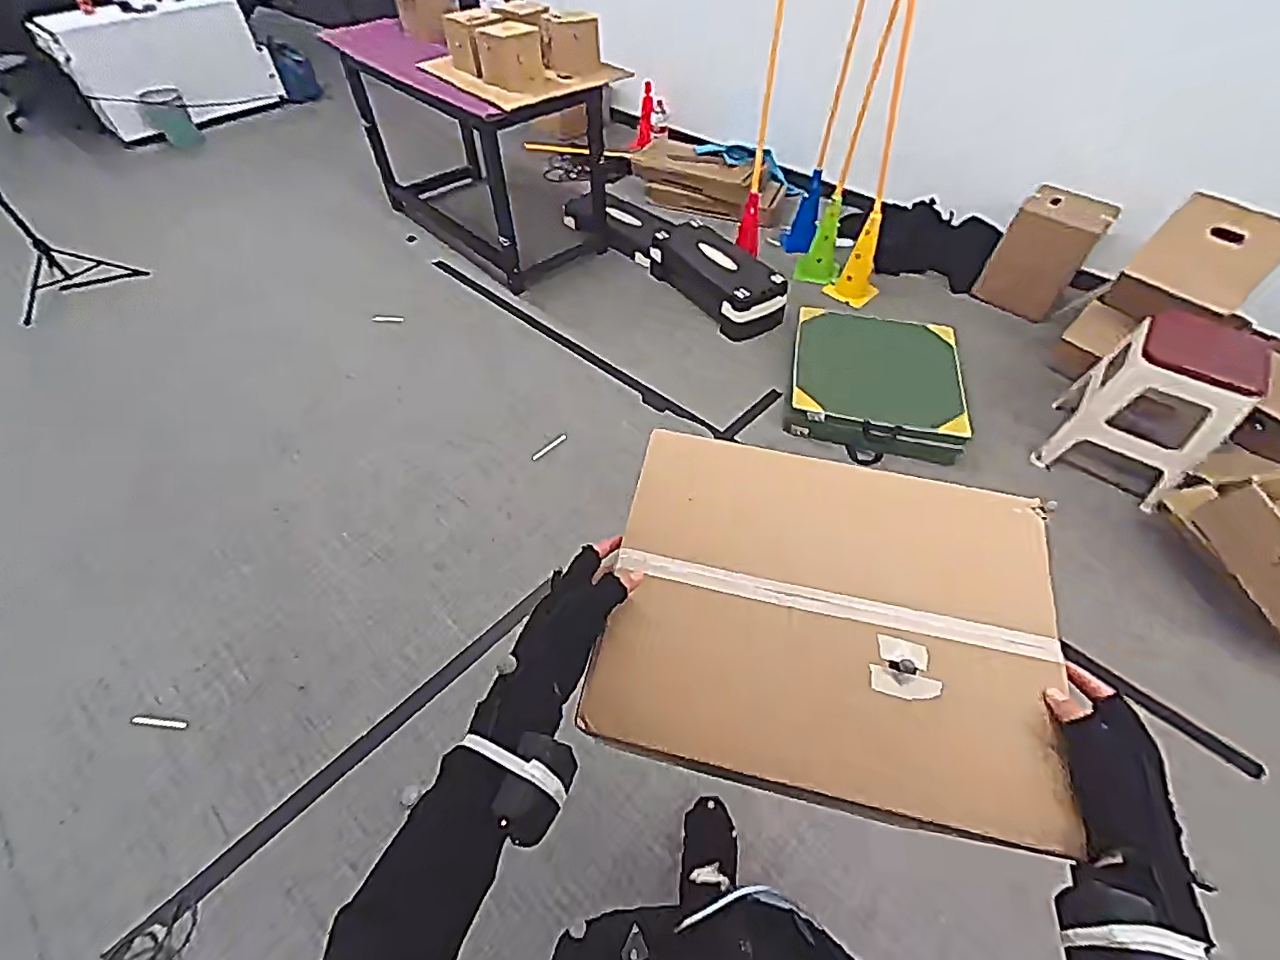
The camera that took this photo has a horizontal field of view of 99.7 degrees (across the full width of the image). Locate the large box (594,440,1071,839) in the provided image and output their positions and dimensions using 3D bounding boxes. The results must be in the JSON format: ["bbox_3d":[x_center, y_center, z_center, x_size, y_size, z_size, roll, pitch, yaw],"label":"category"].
[{"bbox_3d":[0.183,0.190,0.649,0.408,0.320,0.320,11,63,7],"label":"large box"}]
